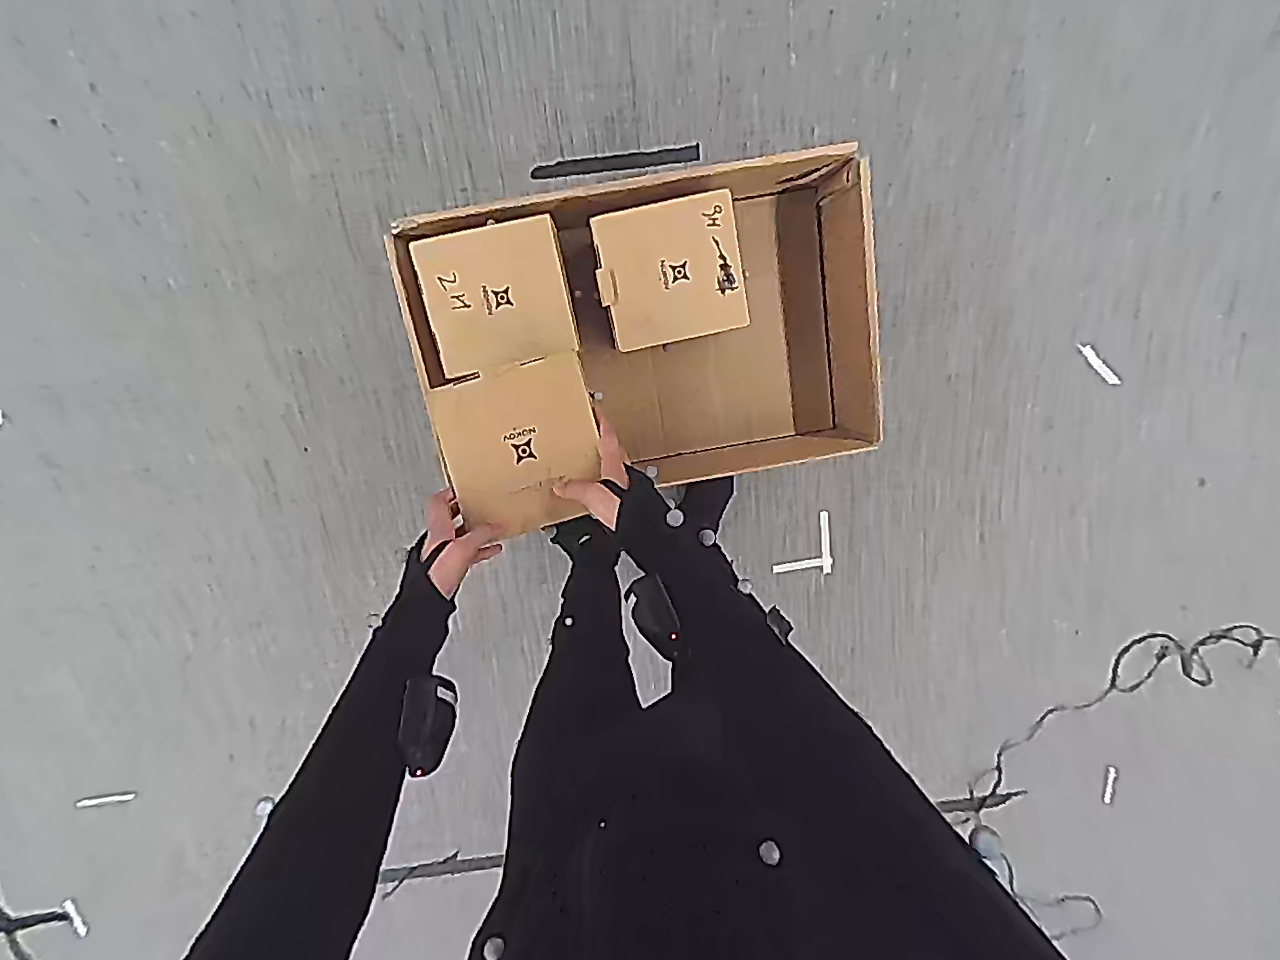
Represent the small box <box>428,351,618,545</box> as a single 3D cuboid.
[{"bbox_3d":[-0.128,-0.032,0.651,0.168,0.176,0.179,-16,90,-1],"label":"small box"}]
